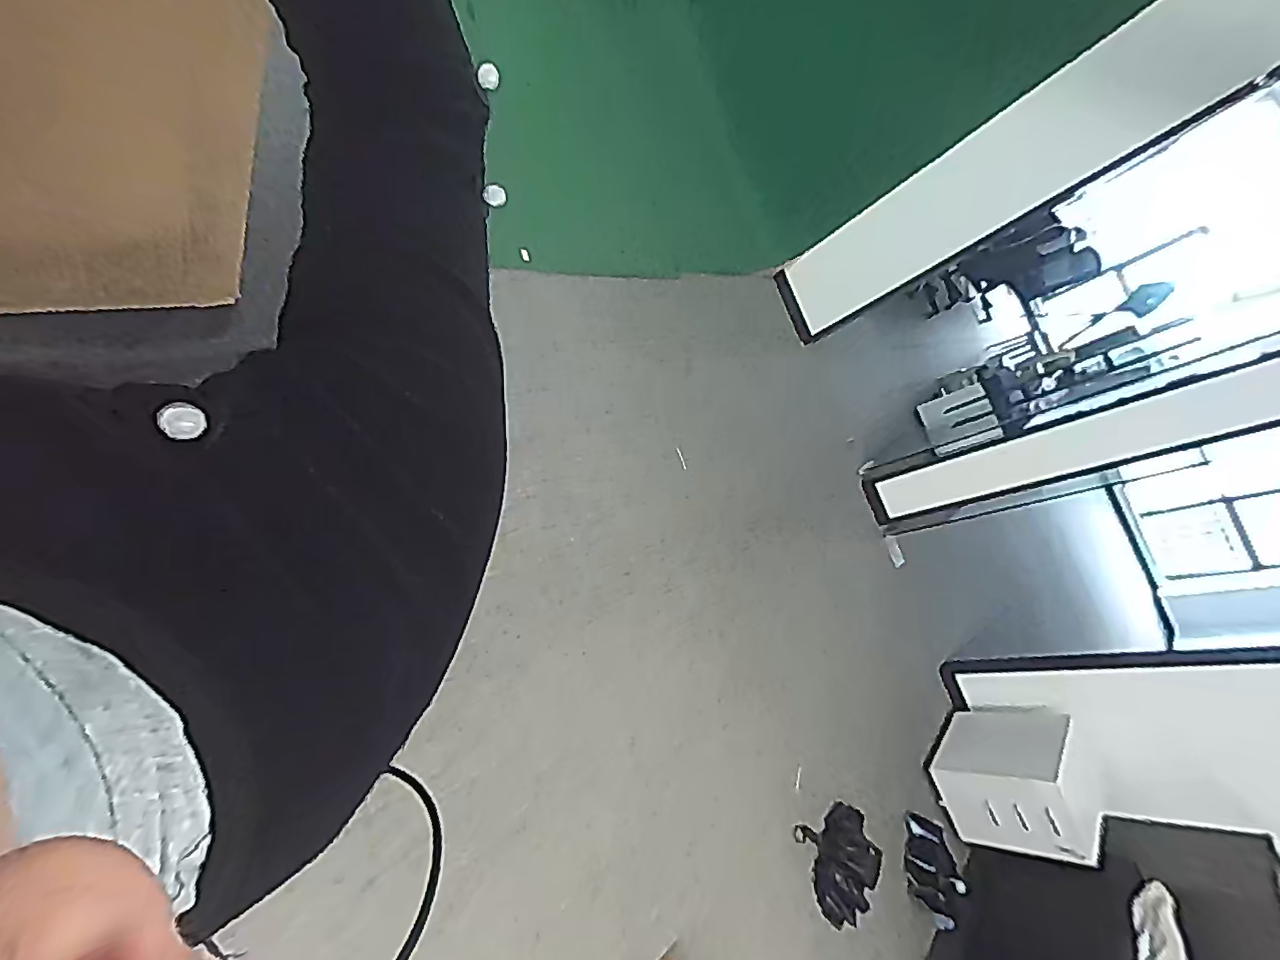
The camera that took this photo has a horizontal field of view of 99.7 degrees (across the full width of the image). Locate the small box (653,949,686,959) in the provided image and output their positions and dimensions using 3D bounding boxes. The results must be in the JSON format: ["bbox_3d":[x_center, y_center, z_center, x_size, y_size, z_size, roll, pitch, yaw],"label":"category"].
[{"bbox_3d":[0.107,1.507,1.548,0.168,0.176,0.179,-26,89,-45],"label":"small box"}]
